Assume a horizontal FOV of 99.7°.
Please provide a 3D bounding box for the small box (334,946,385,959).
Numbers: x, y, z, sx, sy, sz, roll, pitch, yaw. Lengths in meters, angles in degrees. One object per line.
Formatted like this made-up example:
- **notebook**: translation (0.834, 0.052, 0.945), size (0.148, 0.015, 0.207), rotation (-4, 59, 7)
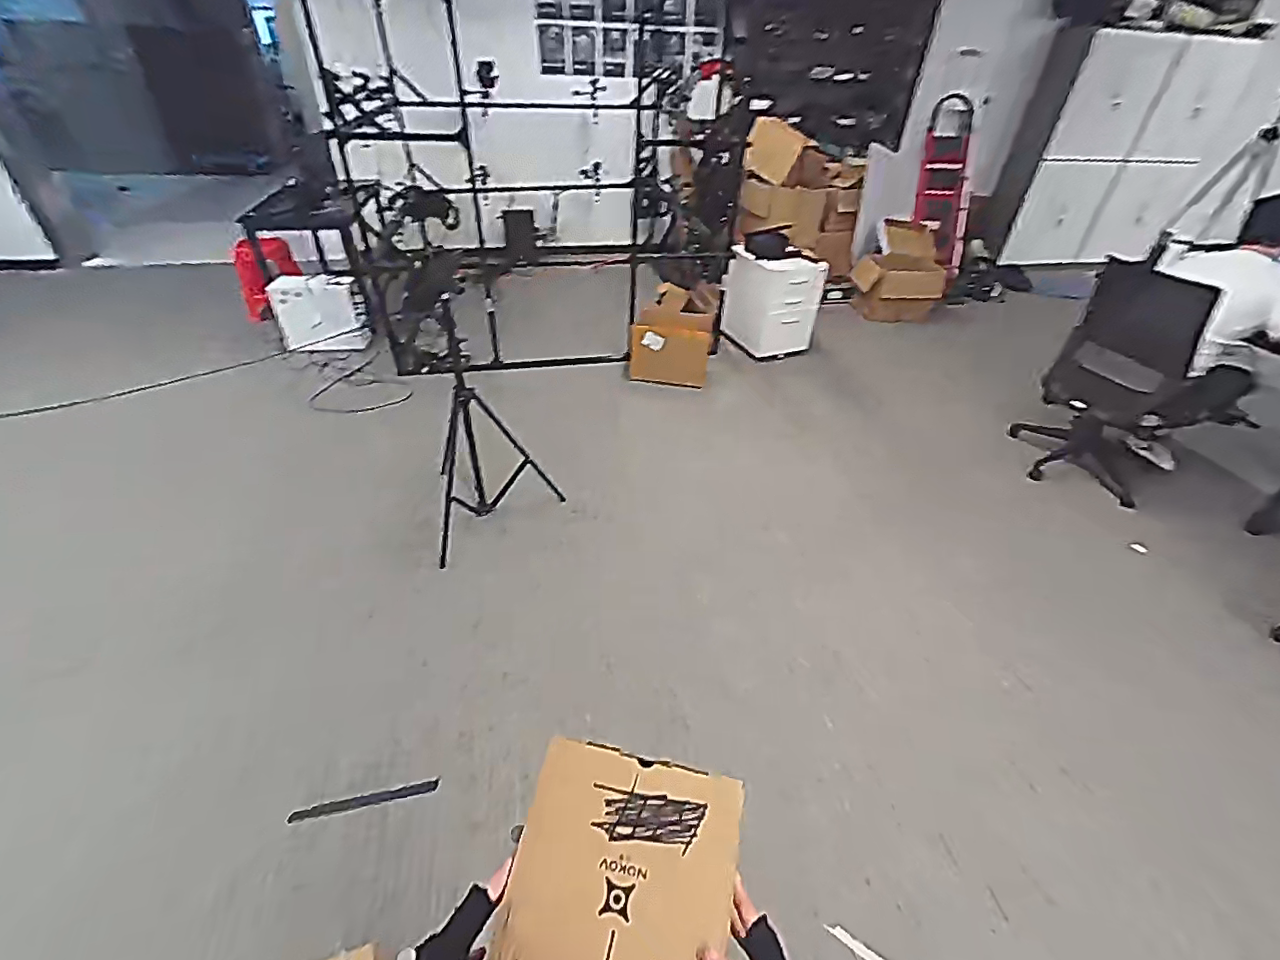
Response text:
- **small box**: translation (-0.572, 1.039, 1.026), size (0.168, 0.176, 0.179), rotation (-10, 40, -16)

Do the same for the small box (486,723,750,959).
- **small box**: translation (-0.015, 0.330, 0.457), size (0.168, 0.176, 0.179), rotation (12, 58, 4)
